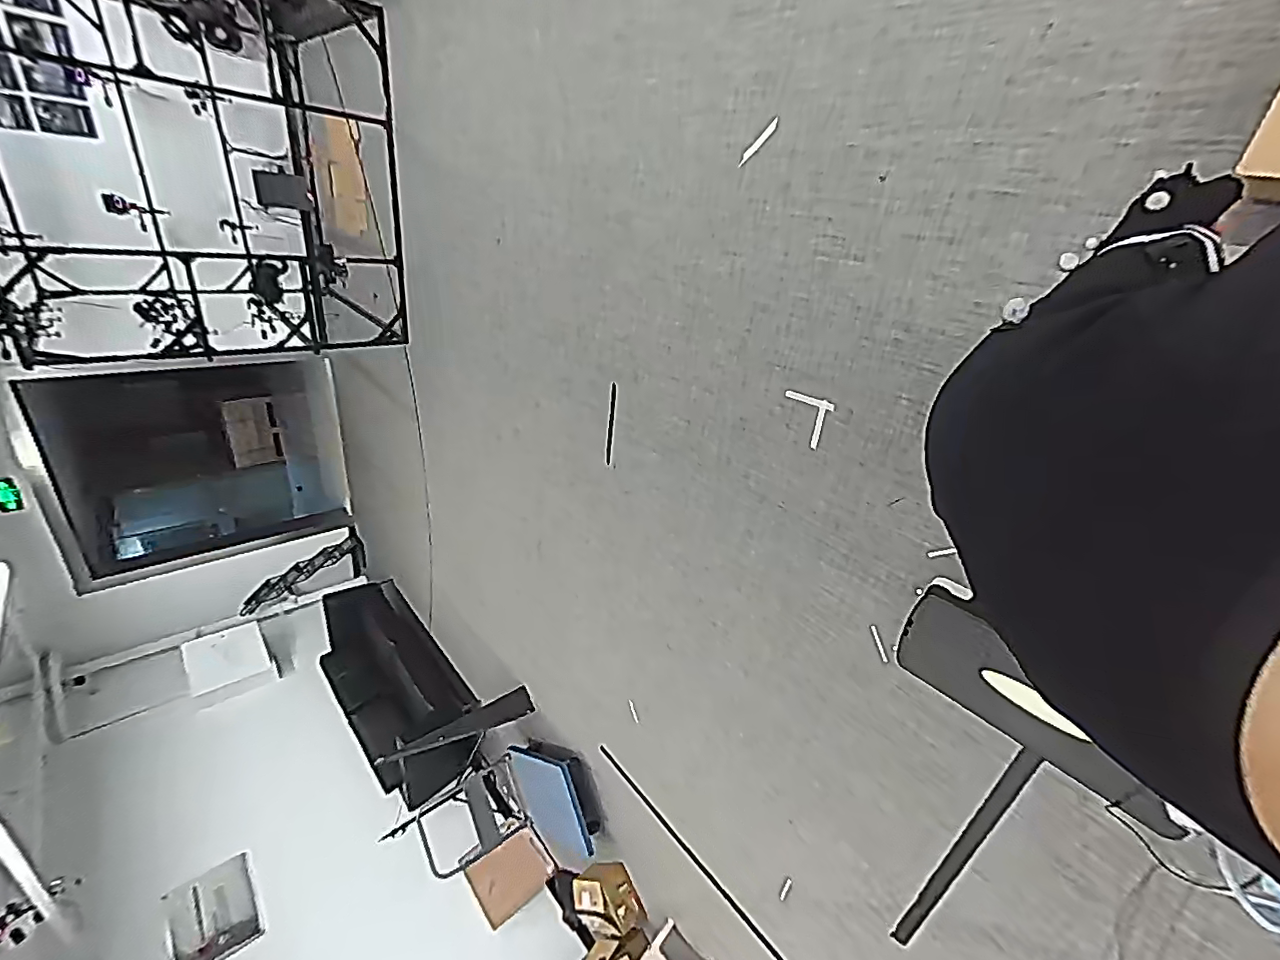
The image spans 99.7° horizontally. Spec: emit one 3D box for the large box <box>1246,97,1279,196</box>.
[{"bbox_3d":[1.113,-0.531,0.673,0.408,0.320,0.320,32,126,38],"label":"large box"}]
